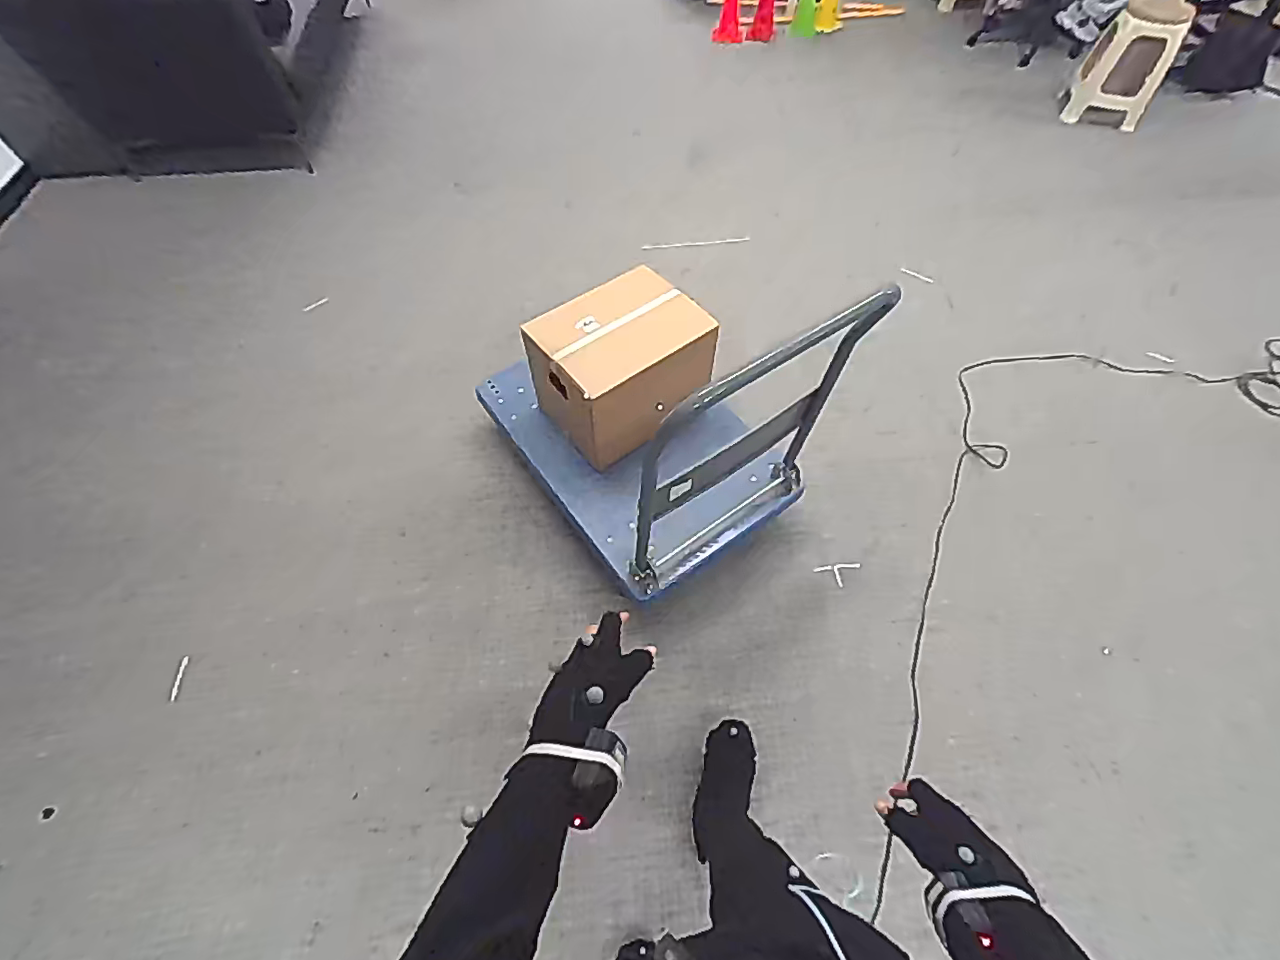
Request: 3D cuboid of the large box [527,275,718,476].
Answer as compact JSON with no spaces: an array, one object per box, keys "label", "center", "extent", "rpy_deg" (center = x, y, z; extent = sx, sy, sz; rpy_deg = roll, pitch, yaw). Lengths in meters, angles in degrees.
[{"label":"large box","center":[-0.041,-0.288,1.503],"extent":[0.408,0.320,0.320],"rpy_deg":[-35,63,-19]}]
